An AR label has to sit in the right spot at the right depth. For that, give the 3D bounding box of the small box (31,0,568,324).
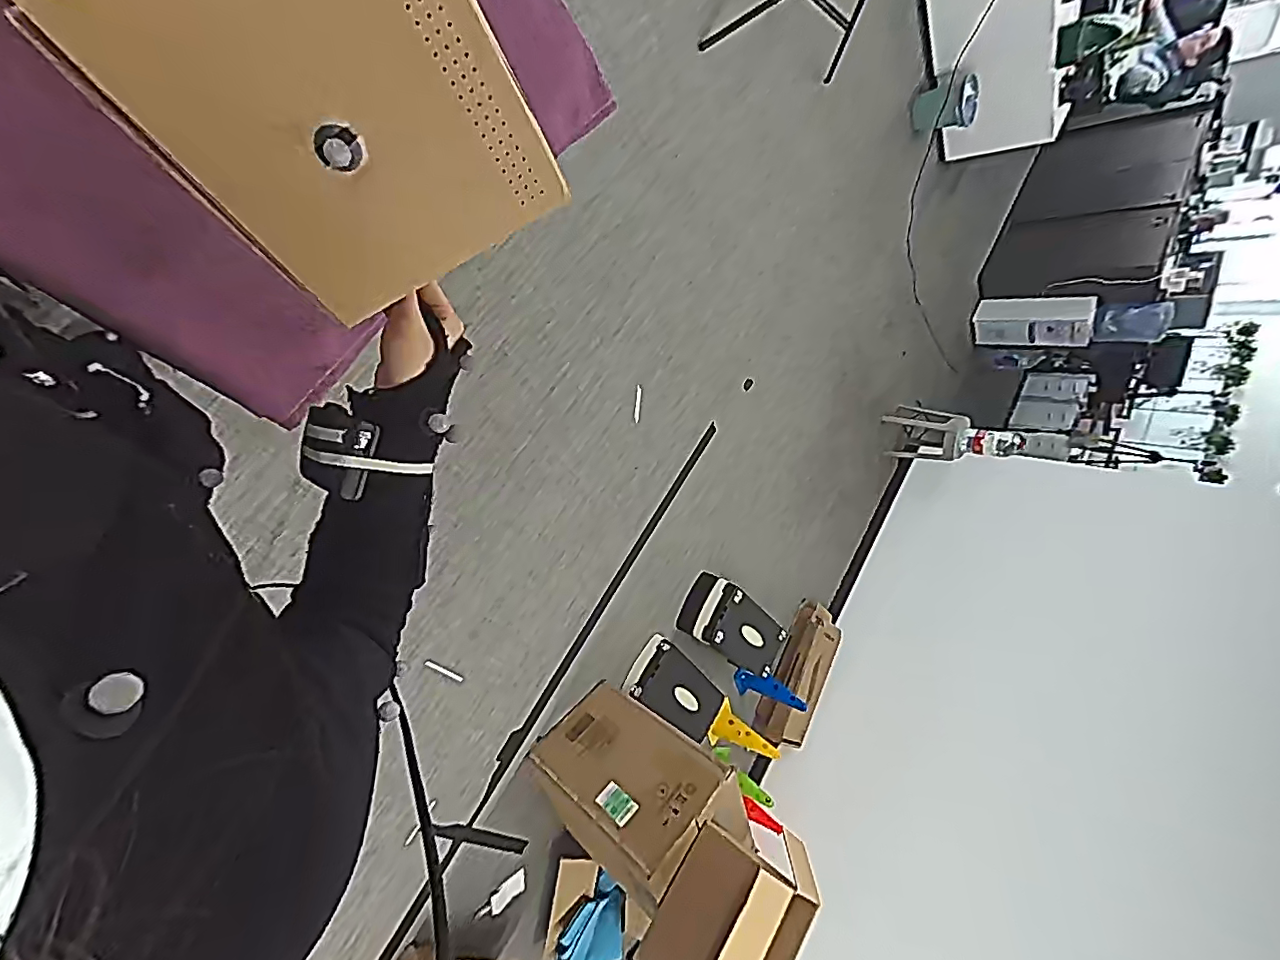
[{"bbox_3d":[-0.167,-0.239,0.325,0.176,0.168,0.179,-27,138,7],"label":"small box"}]
